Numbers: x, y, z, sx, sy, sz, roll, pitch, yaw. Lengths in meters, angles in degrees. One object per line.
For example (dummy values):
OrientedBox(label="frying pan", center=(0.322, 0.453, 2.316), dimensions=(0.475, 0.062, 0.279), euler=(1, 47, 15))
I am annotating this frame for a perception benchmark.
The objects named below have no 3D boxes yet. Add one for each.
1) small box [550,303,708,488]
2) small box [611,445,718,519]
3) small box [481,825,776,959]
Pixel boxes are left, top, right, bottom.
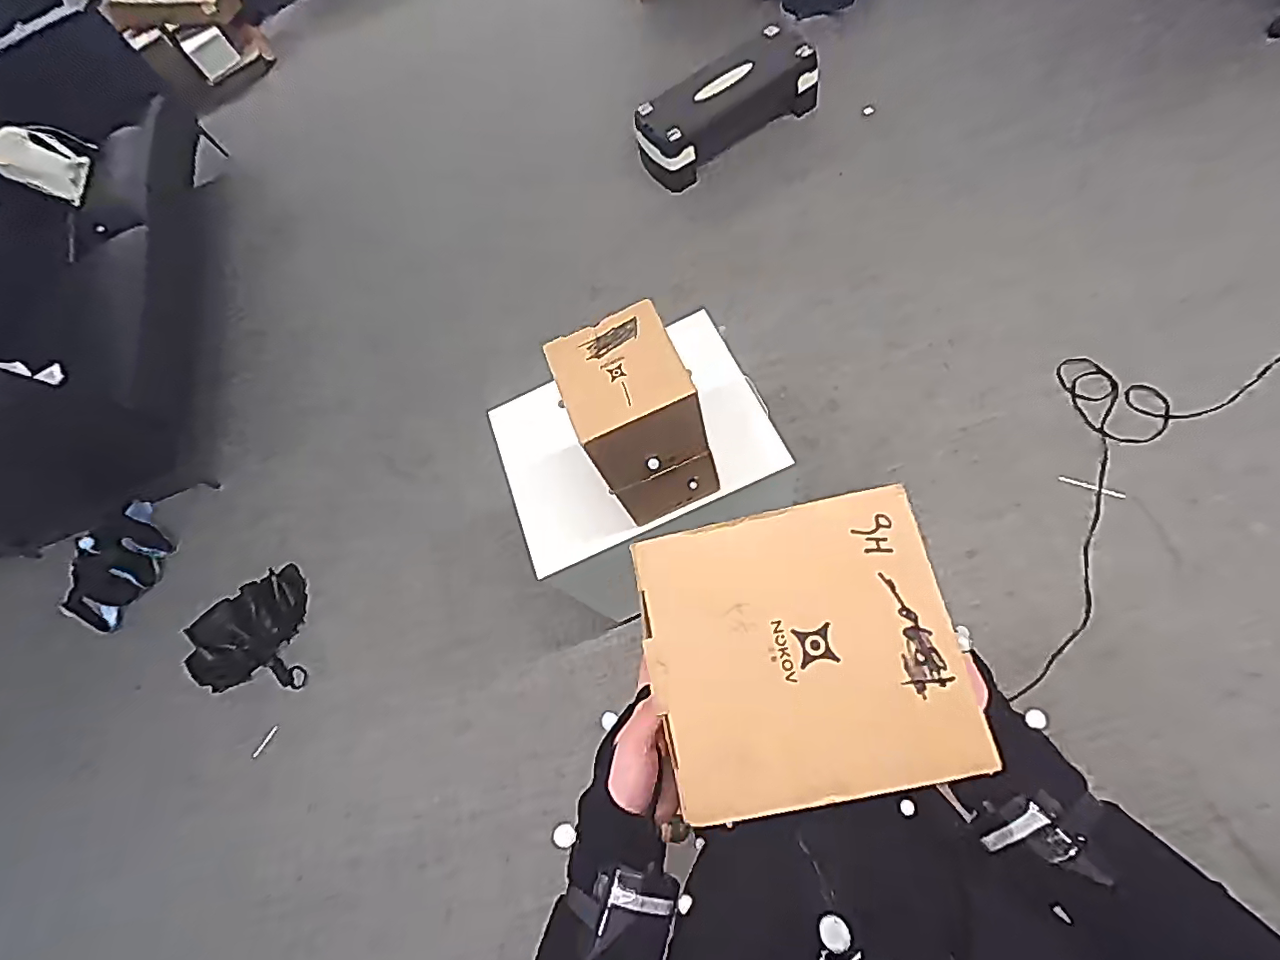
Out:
OrientedBox(label="small box", center=(-0.010, -0.116, 0.795), dimensions=(0.168, 0.176, 0.179), euler=(-23, 64, 3))
OrientedBox(label="small box", center=(0.026, -0.049, 0.941), dimensions=(0.168, 0.176, 0.179), euler=(-24, 62, 2))
OrientedBox(label="small box", center=(0.003, 0.409, 0.435), dimensions=(0.176, 0.179, 0.168), euler=(-23, 84, 23))
